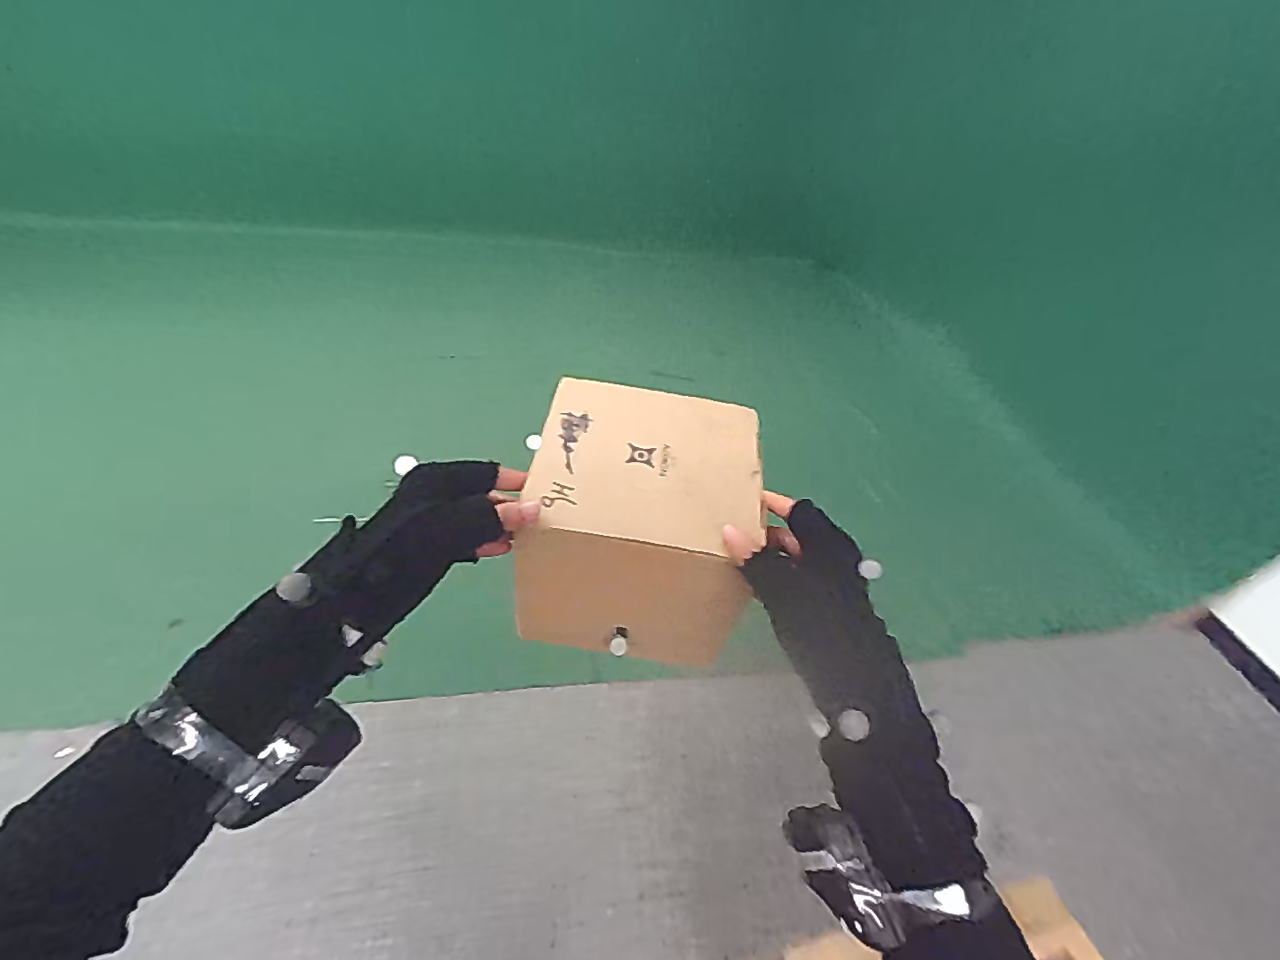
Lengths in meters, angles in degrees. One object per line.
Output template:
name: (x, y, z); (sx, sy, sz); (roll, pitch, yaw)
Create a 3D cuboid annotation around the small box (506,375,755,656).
small box: (-0.011, 0.037, 0.478); (0.179, 0.176, 0.168); (11, 45, -3)
